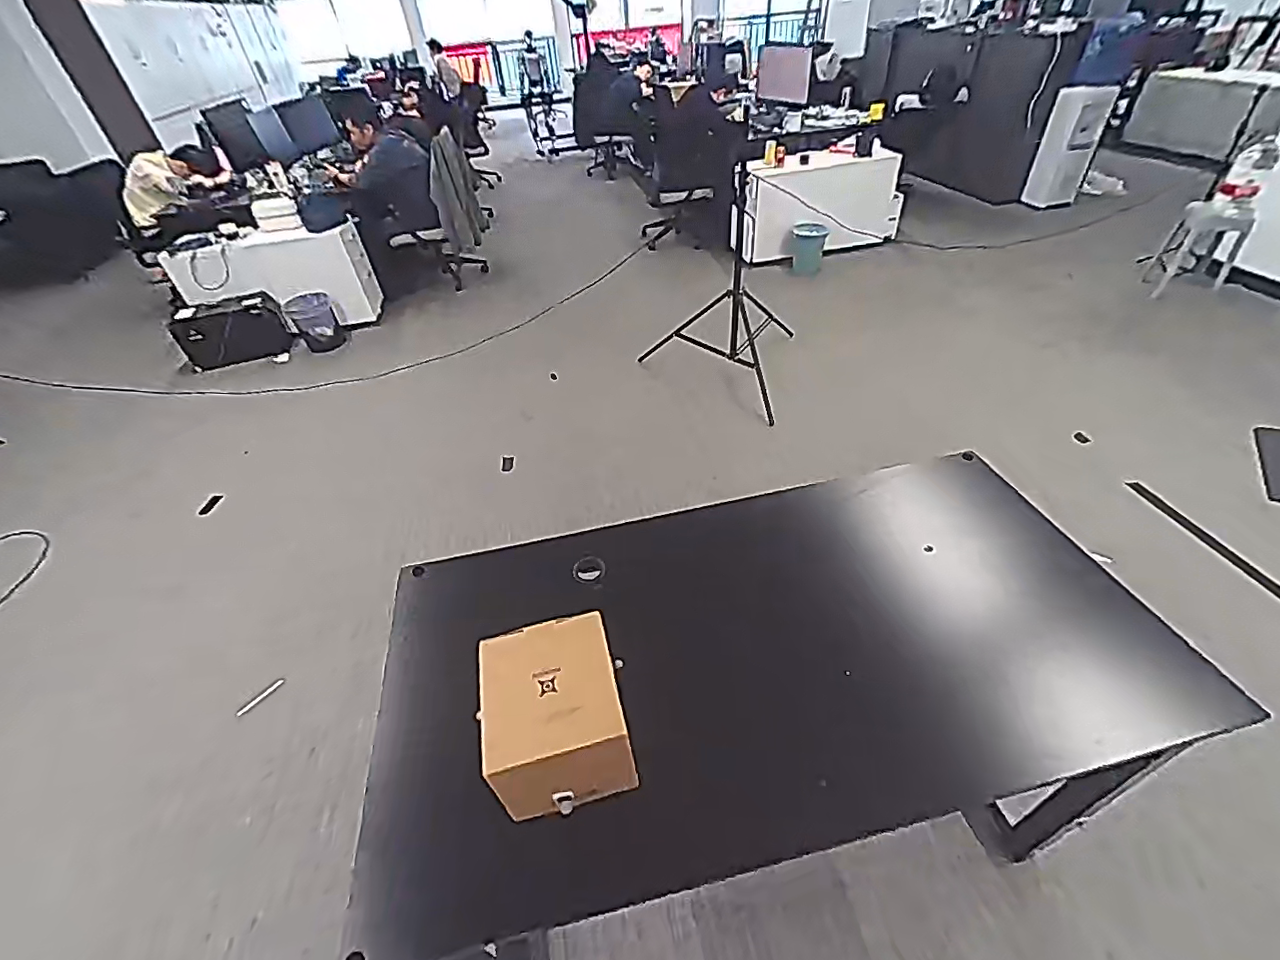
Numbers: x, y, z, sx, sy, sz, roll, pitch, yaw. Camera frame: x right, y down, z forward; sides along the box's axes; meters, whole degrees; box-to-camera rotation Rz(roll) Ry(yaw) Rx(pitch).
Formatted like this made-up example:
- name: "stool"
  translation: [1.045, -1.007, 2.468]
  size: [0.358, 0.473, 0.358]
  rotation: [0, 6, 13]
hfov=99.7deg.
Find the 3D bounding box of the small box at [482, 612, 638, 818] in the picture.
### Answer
- name: "small box"
  translation: [-0.106, 0.311, 0.721]
  size: [0.168, 0.176, 0.179]
  rotation: [-14, 43, -8]
